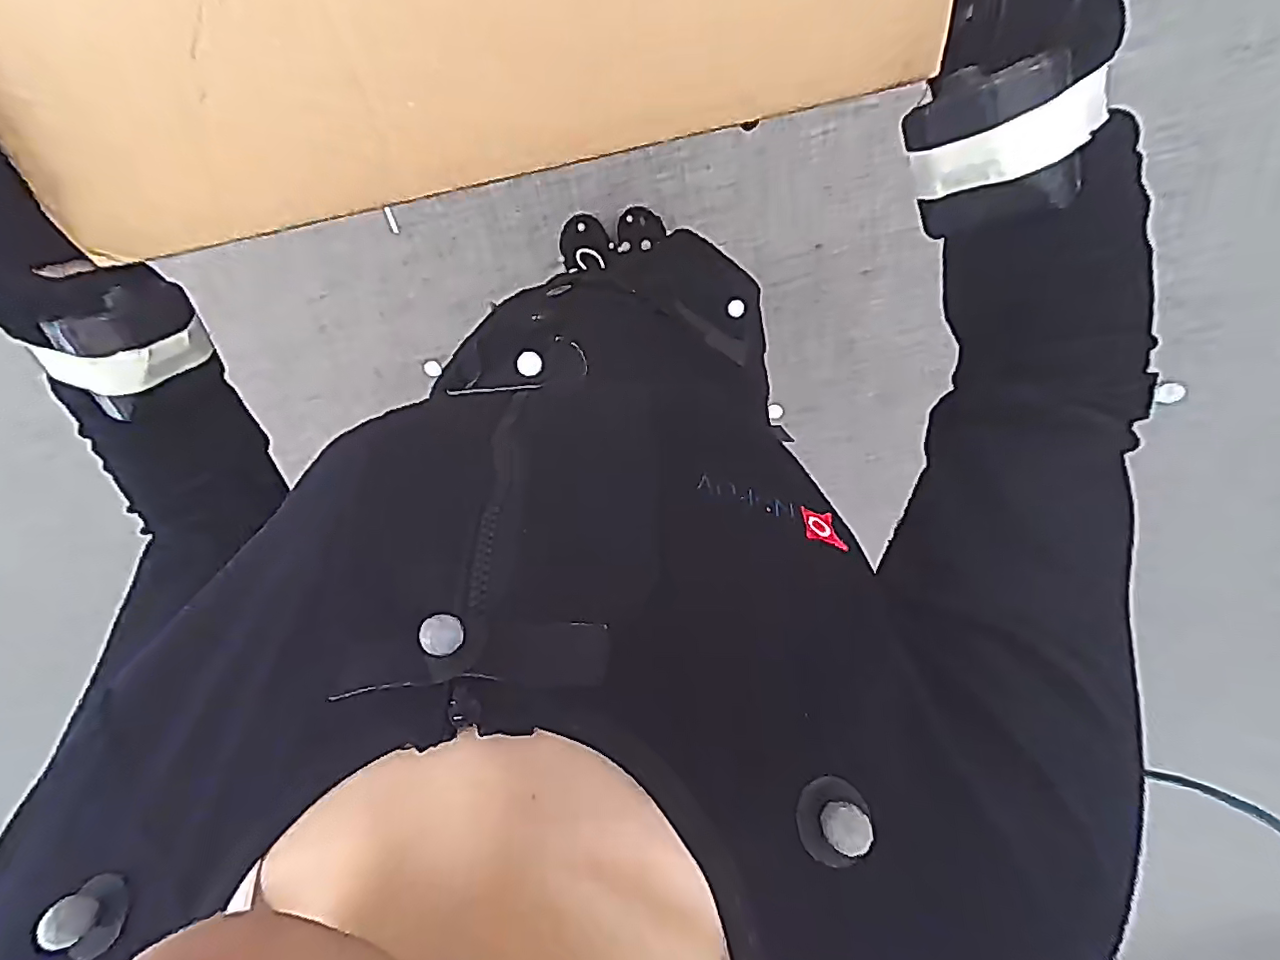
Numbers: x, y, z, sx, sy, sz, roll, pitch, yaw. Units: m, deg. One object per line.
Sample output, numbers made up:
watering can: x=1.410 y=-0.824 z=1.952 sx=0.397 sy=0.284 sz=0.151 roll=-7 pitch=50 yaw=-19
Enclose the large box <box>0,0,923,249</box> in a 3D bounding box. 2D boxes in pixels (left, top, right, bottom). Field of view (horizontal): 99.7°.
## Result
large box: x=-0.108 y=-0.362 z=0.256 sx=0.408 sy=0.320 sz=0.320 roll=-10 pitch=134 yaw=5
